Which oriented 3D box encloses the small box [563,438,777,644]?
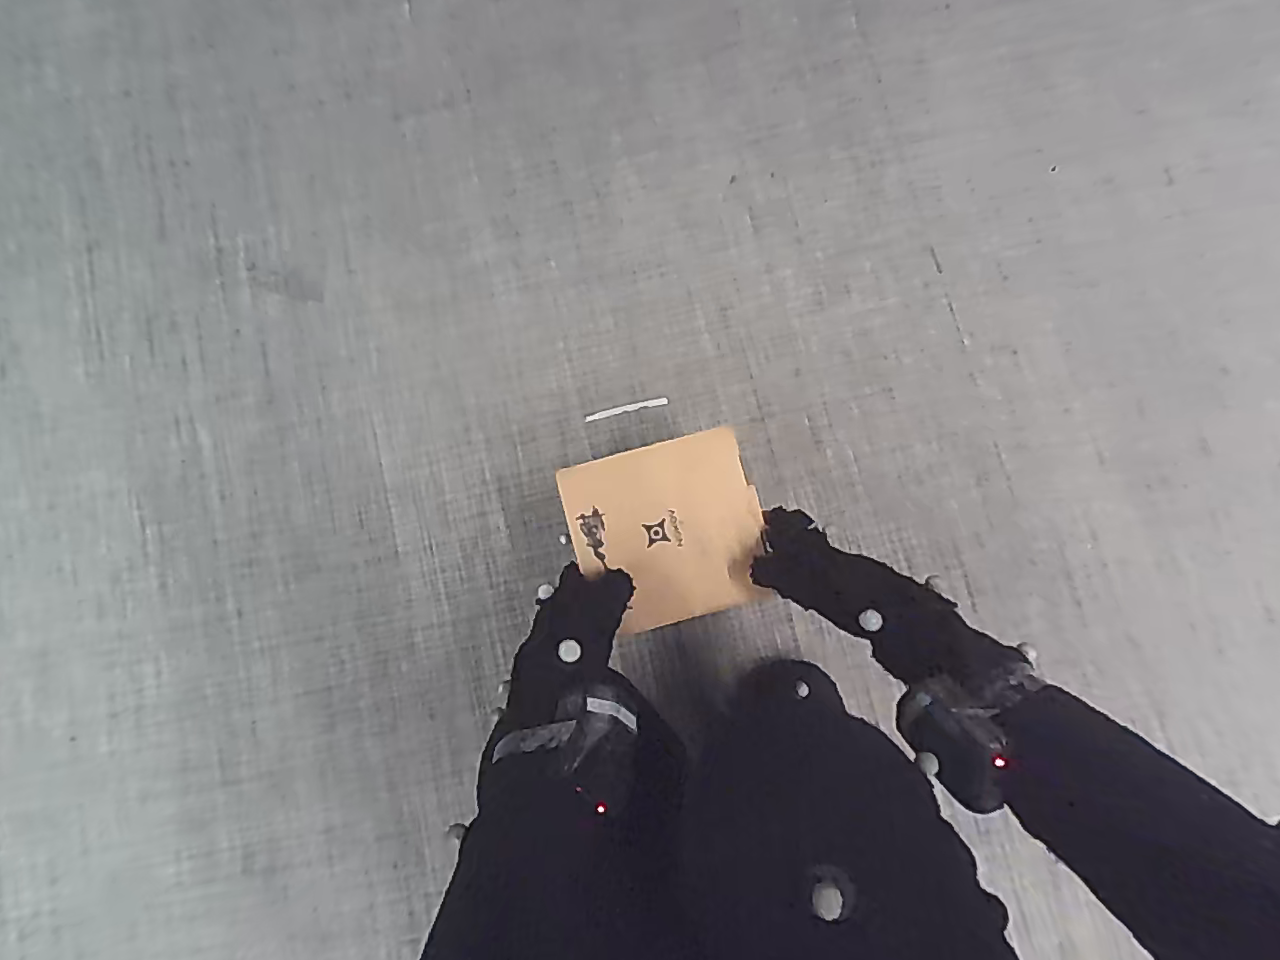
[{"bbox_3d":[0.026,0.062,0.586,0.179,0.176,0.168,-13,84,-1],"label":"small box"}]
